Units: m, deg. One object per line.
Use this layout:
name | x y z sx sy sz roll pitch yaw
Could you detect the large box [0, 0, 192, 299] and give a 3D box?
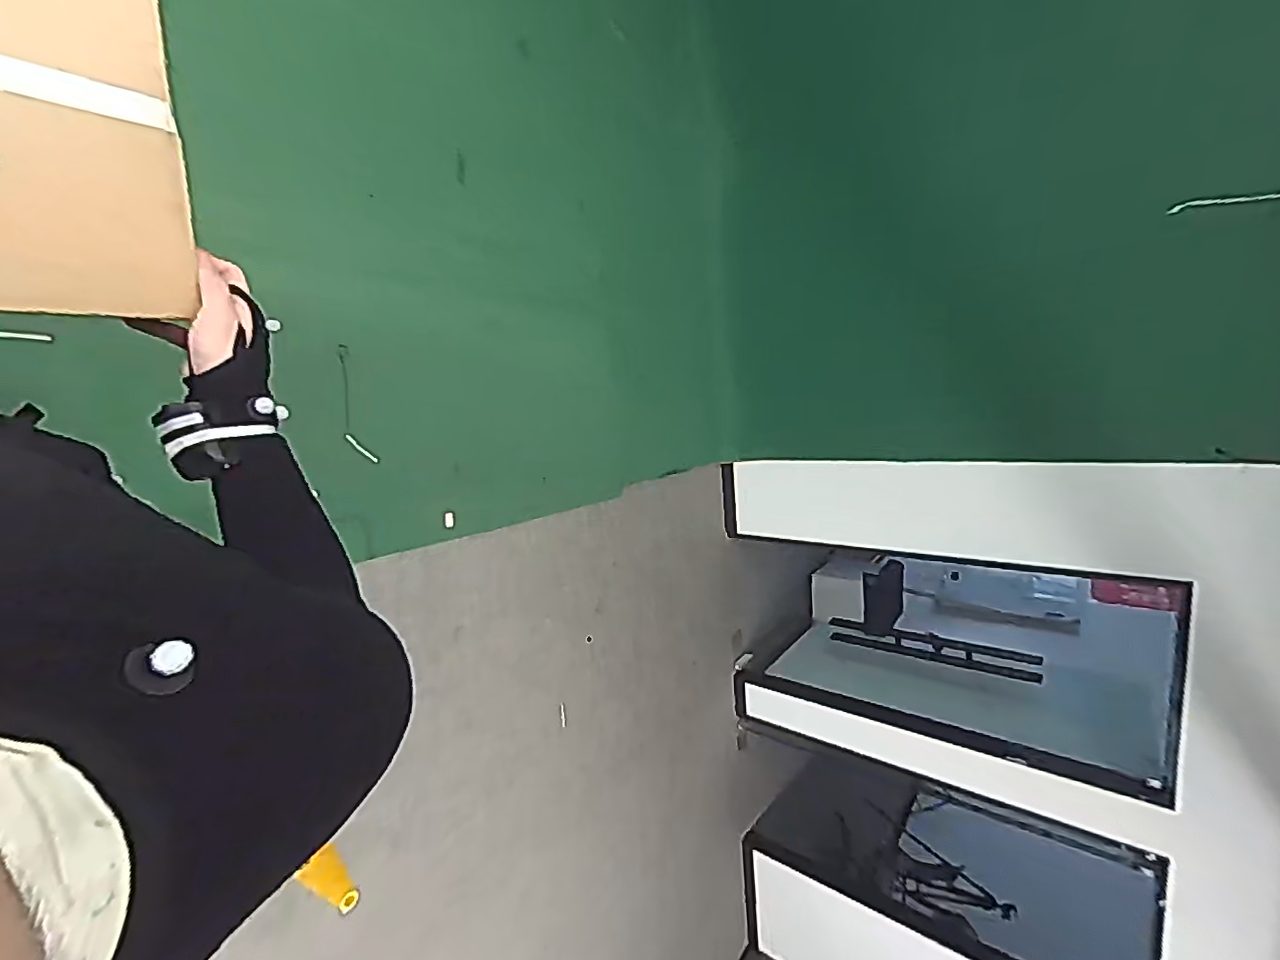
large box | -0.627 -0.303 0.372 0.408 0.320 0.320 -16 117 -50
